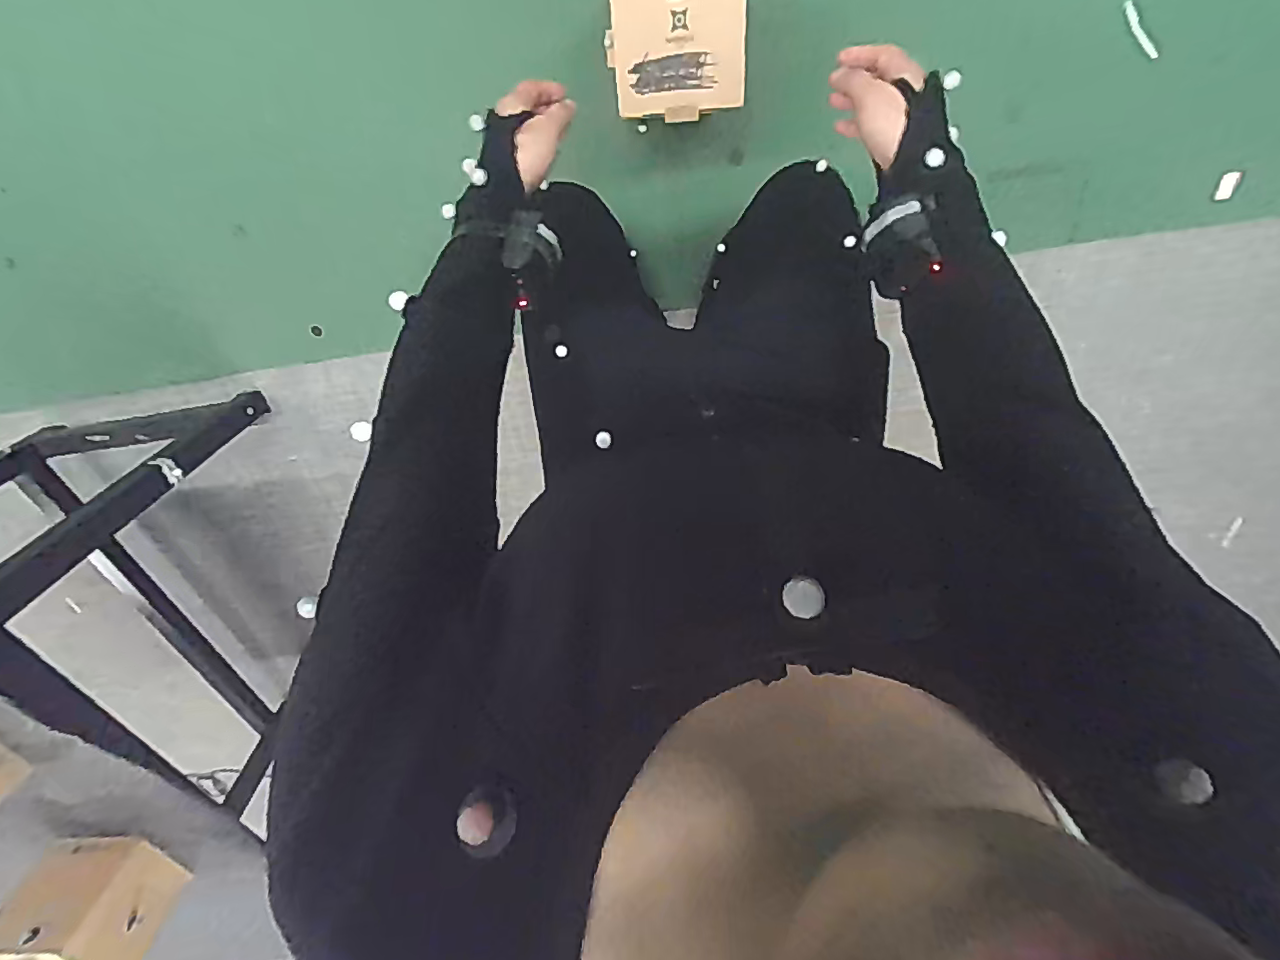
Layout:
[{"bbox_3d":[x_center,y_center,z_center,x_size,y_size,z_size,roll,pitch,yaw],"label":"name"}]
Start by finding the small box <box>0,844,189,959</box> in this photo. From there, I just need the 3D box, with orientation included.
[{"bbox_3d":[-0.942,0.751,0.926,0.168,0.176,0.179,-5,125,4],"label":"small box"}]

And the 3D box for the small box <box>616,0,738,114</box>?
[{"bbox_3d":[0.055,-0.688,0.856,0.179,0.176,0.168,-4,124,2],"label":"small box"}]
